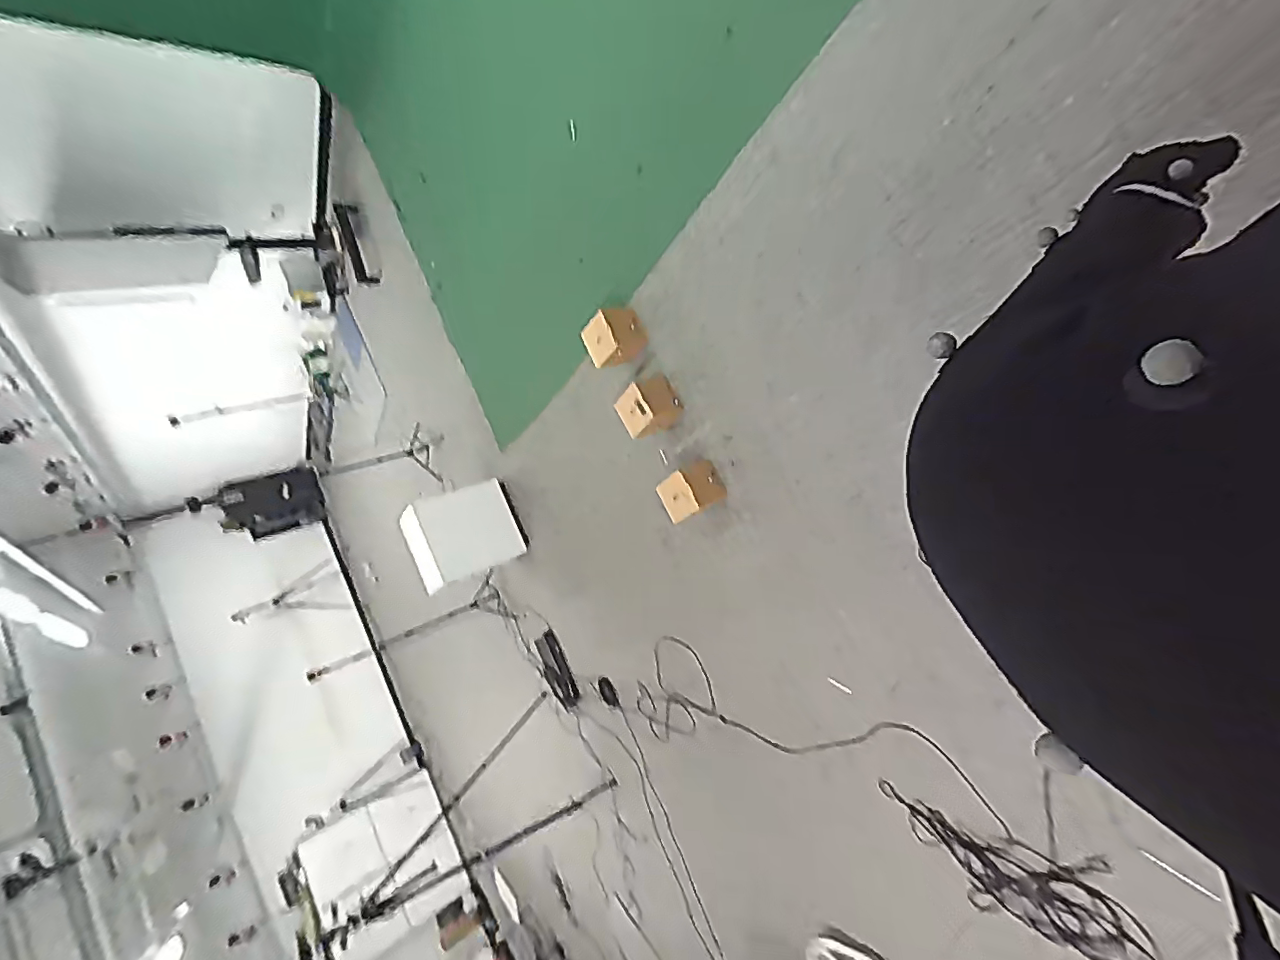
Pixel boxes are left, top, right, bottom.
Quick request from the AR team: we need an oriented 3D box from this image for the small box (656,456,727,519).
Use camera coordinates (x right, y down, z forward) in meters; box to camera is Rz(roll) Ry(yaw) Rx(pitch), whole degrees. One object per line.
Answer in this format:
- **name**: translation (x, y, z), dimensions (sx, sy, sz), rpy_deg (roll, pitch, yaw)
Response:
- **small box**: translation (0.201, 0.027, 2.085), dimensions (0.179, 0.176, 0.168), rpy_deg (-39, 76, 50)

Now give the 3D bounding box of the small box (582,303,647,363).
- **small box**: translation (-0.101, -0.594, 2.188), dimensions (0.179, 0.176, 0.168), rpy_deg (-34, 79, 51)

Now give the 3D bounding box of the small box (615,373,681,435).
- **small box**: translation (0.039, -0.306, 2.141), dimensions (0.179, 0.176, 0.168), rpy_deg (-43, 72, 50)
